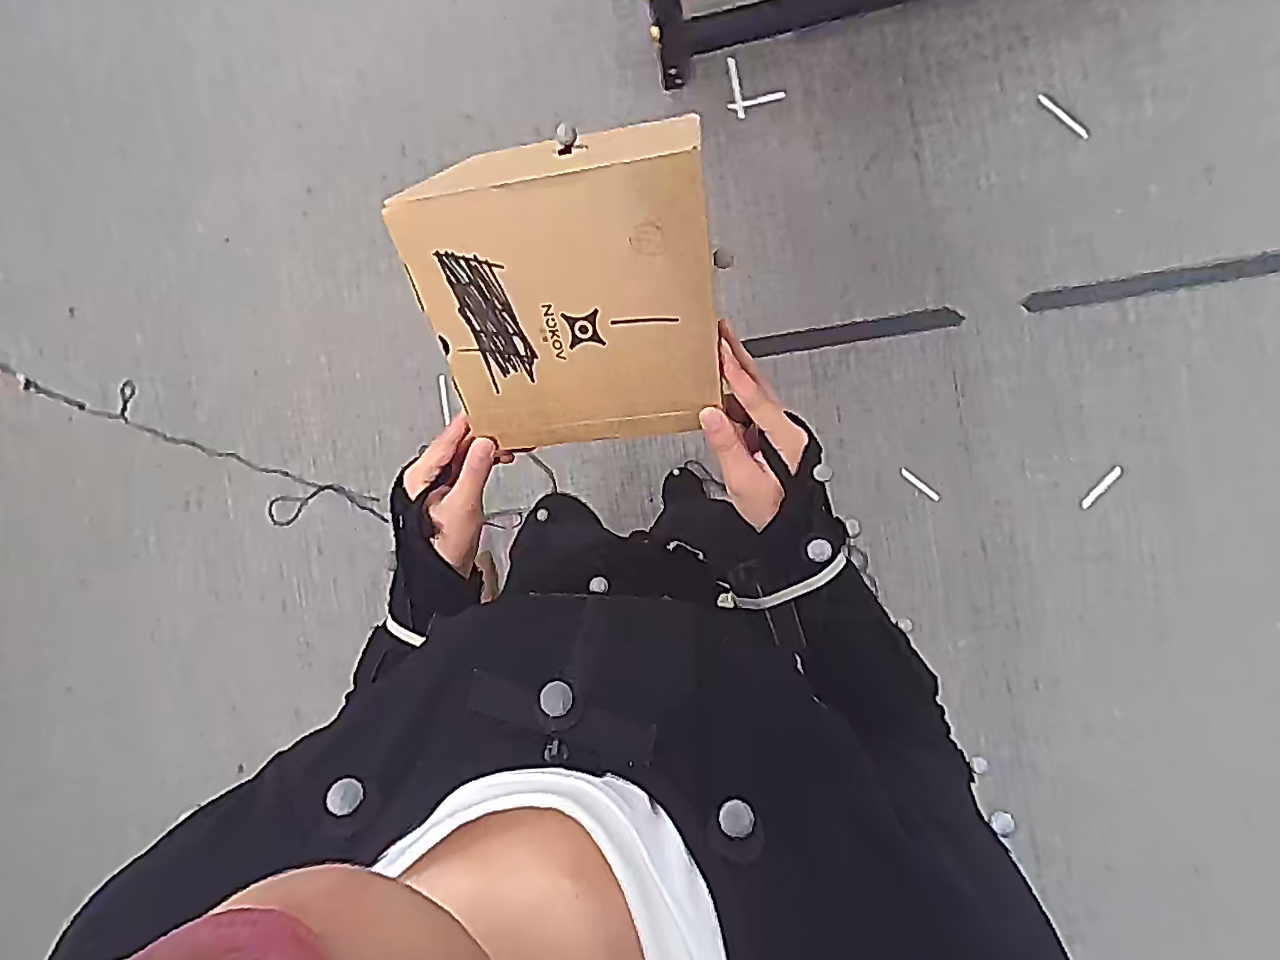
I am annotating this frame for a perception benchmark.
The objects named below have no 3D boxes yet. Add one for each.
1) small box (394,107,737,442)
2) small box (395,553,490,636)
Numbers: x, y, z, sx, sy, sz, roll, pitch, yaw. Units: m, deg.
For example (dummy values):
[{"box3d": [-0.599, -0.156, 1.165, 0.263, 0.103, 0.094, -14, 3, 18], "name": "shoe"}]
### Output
[{"box3d": [-0.027, -0.145, 0.378, 0.179, 0.176, 0.168, -5, 128, 8], "name": "small box"}, {"box3d": [-0.484, 0.278, 1.343, 0.168, 0.176, 0.179, -3, 91, 7], "name": "small box"}]
